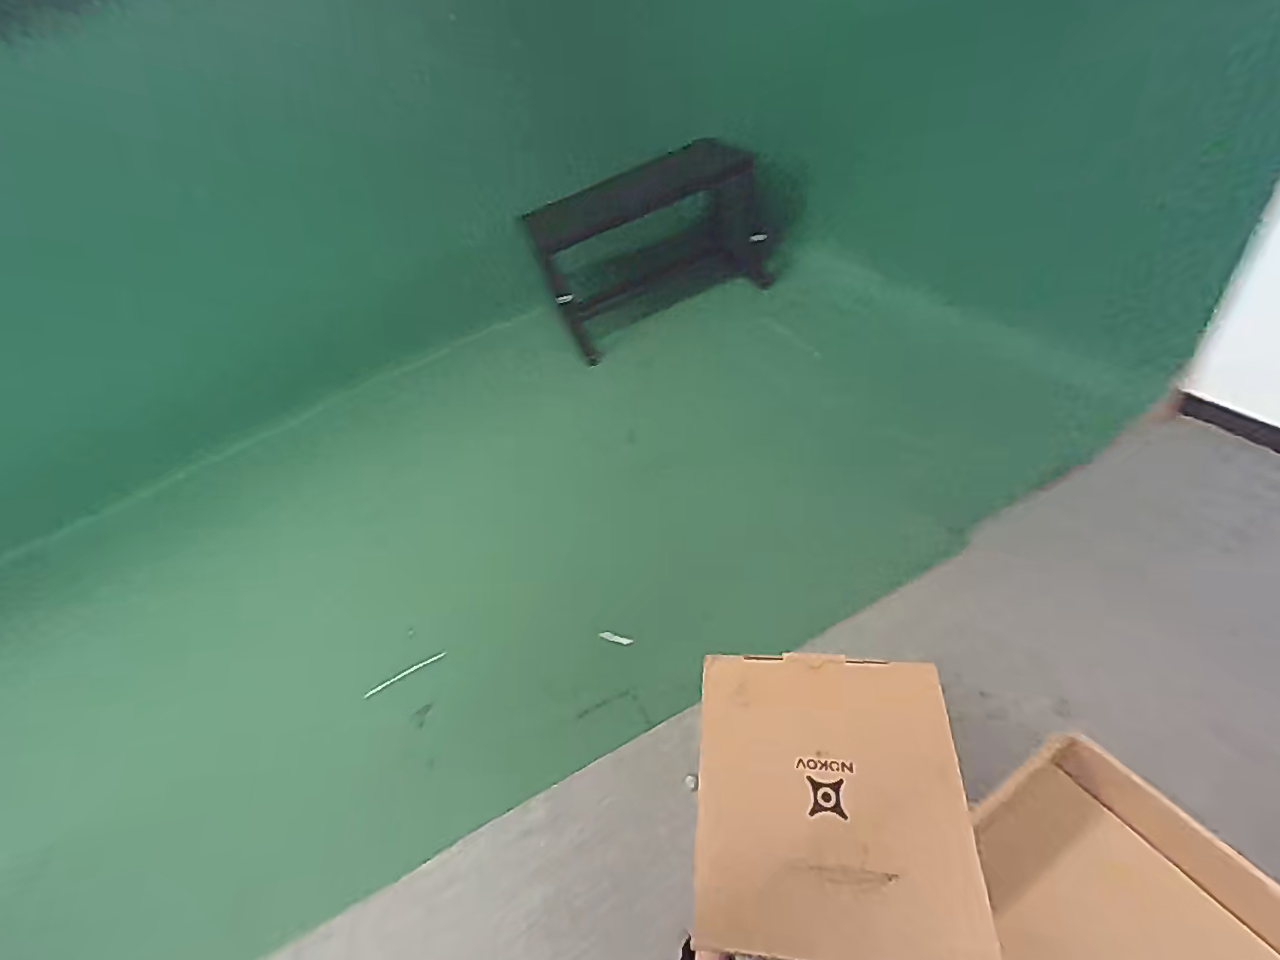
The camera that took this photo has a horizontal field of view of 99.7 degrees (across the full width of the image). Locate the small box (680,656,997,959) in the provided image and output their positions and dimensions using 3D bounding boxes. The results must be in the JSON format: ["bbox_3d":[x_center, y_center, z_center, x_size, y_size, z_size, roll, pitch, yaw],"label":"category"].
[{"bbox_3d":[0.125,0.247,0.395,0.168,0.176,0.179,-2,51,12],"label":"small box"}]
